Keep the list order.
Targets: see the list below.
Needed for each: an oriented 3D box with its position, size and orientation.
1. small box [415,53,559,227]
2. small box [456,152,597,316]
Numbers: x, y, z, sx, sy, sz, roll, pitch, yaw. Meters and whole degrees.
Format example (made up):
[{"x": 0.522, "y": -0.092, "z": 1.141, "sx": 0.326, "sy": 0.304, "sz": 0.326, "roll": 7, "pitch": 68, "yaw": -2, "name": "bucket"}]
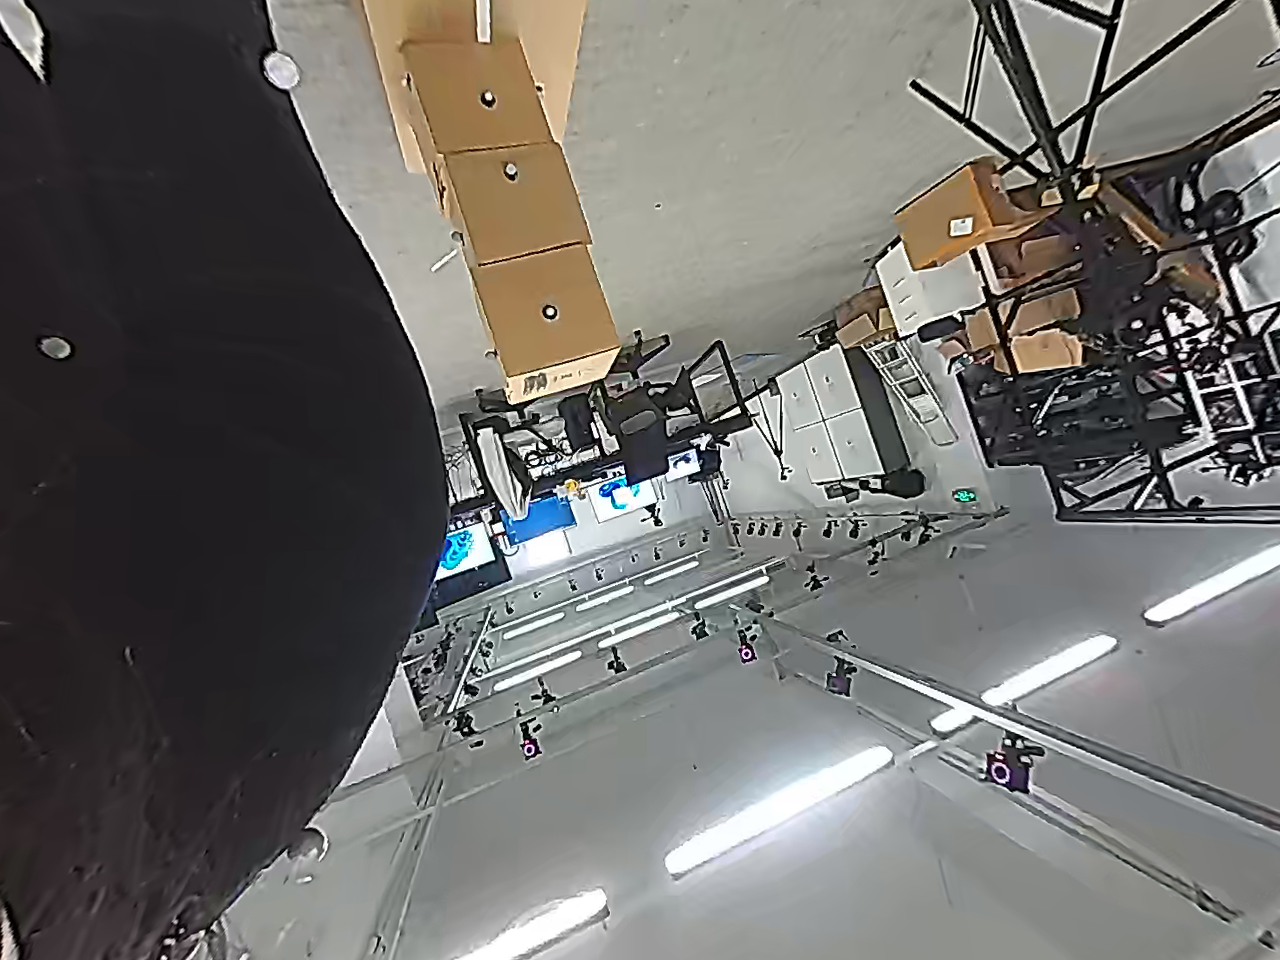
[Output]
[{"x": -0.250, "y": -0.542, "z": 0.870, "sx": 0.179, "sy": 0.176, "sz": 0.168, "roll": -19, "pitch": 179, "yaw": -18, "name": "small box"}, {"x": -0.188, "y": -0.391, "z": 0.870, "sx": 0.179, "sy": 0.176, "sz": 0.168, "roll": -18, "pitch": 179, "yaw": -15, "name": "small box"}]
